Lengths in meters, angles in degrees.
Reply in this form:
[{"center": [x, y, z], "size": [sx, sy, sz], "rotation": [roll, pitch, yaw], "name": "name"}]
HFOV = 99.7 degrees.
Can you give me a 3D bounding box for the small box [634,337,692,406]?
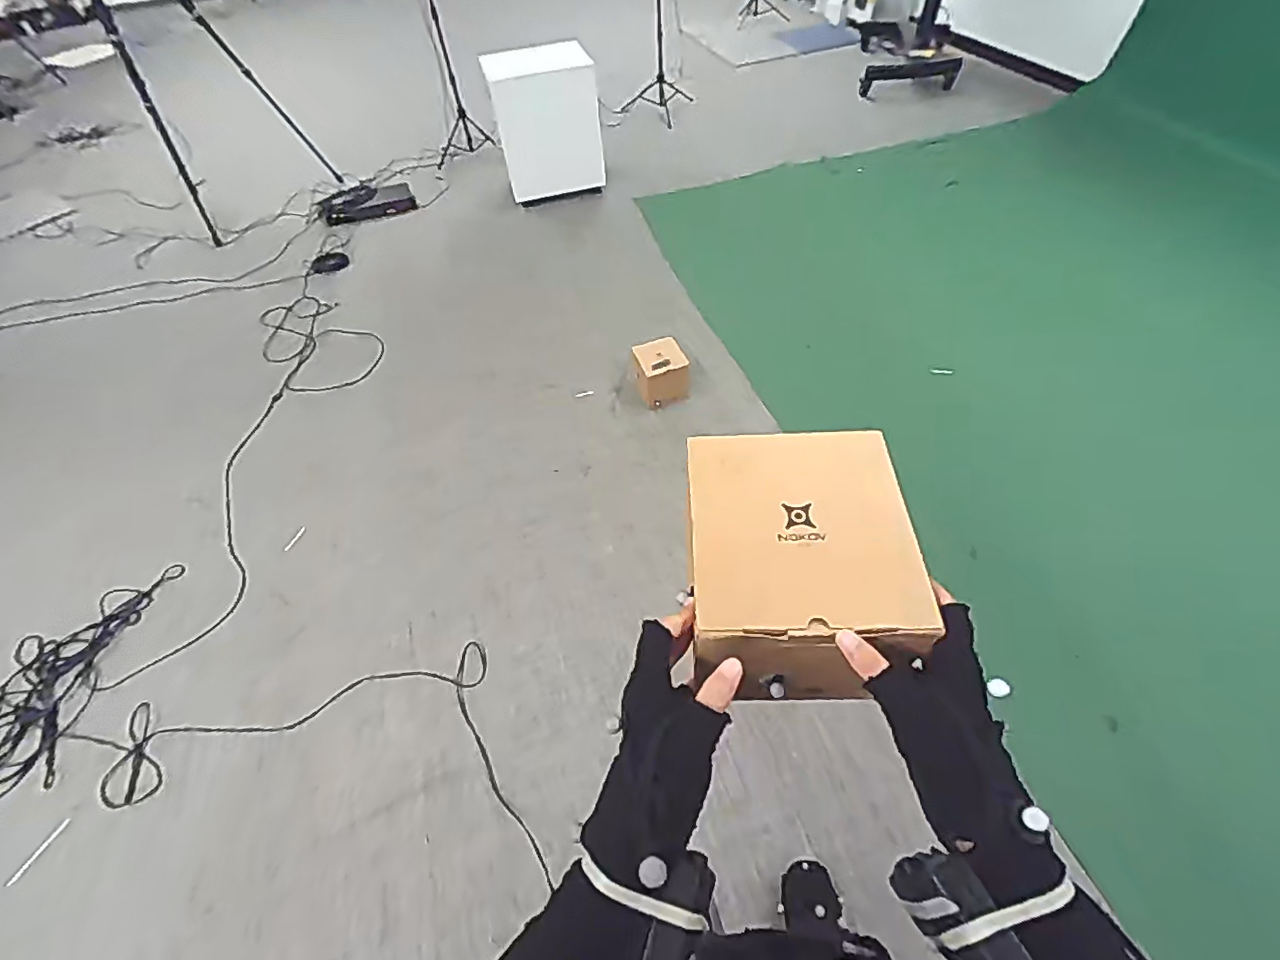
[{"center": [0.087, -0.397, 2.016], "size": [0.168, 0.176, 0.179], "rotation": [-18, 54, -9], "name": "small box"}]
